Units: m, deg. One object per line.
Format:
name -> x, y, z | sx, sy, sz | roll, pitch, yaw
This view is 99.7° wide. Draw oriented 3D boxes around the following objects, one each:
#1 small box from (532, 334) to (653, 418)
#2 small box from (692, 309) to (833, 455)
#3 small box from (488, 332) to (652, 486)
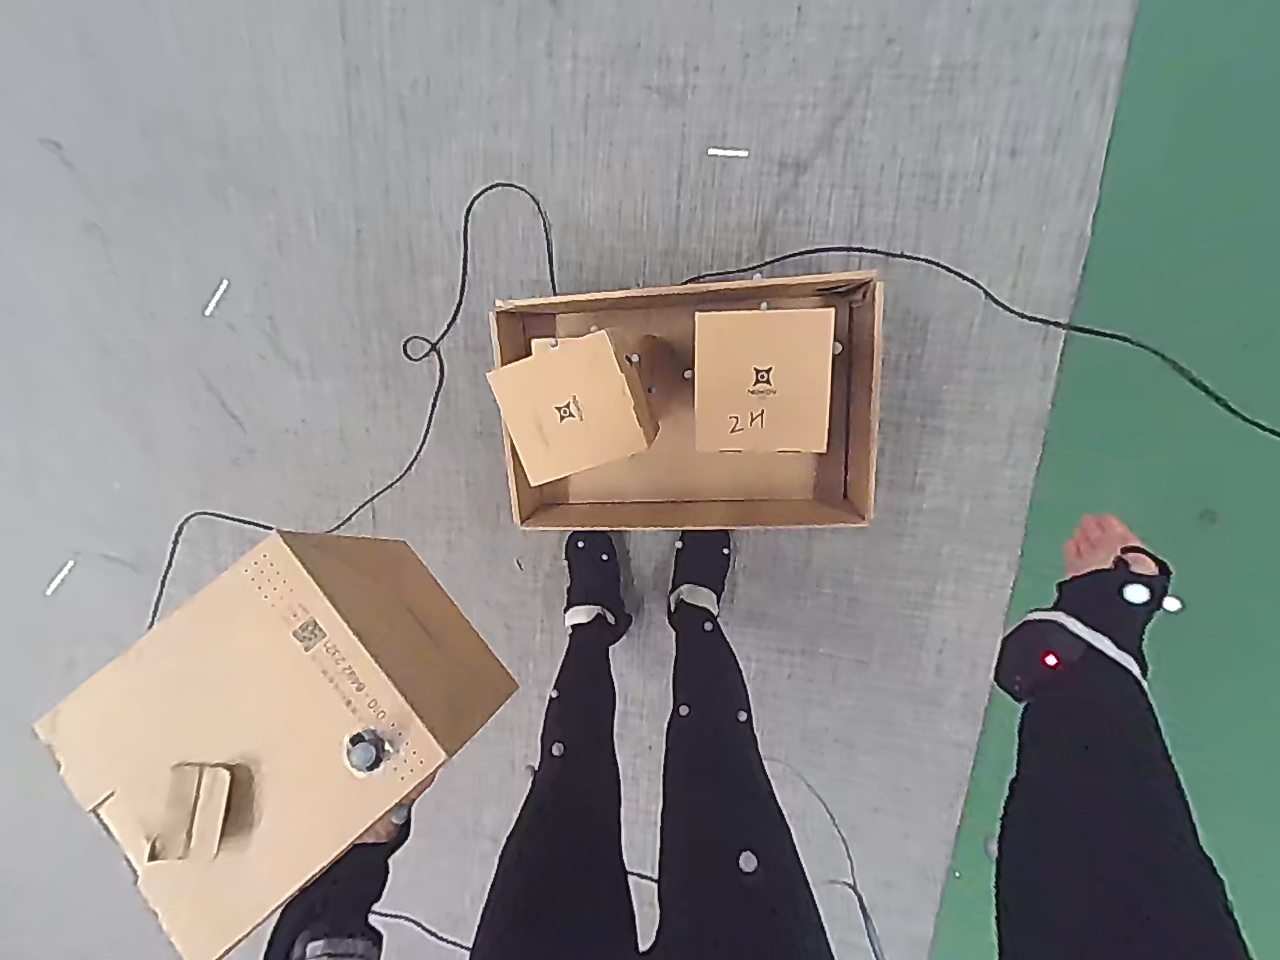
small box -> -0.074, -0.165, 0.943 | 0.179, 0.176, 0.168 | -1, 104, 7
small box -> 0.159, -0.136, 0.743 | 0.168, 0.176, 0.179 | 1, 104, 9
small box -> -0.087, -0.110, 0.789 | 0.179, 0.176, 0.168 | -17, 101, 11
